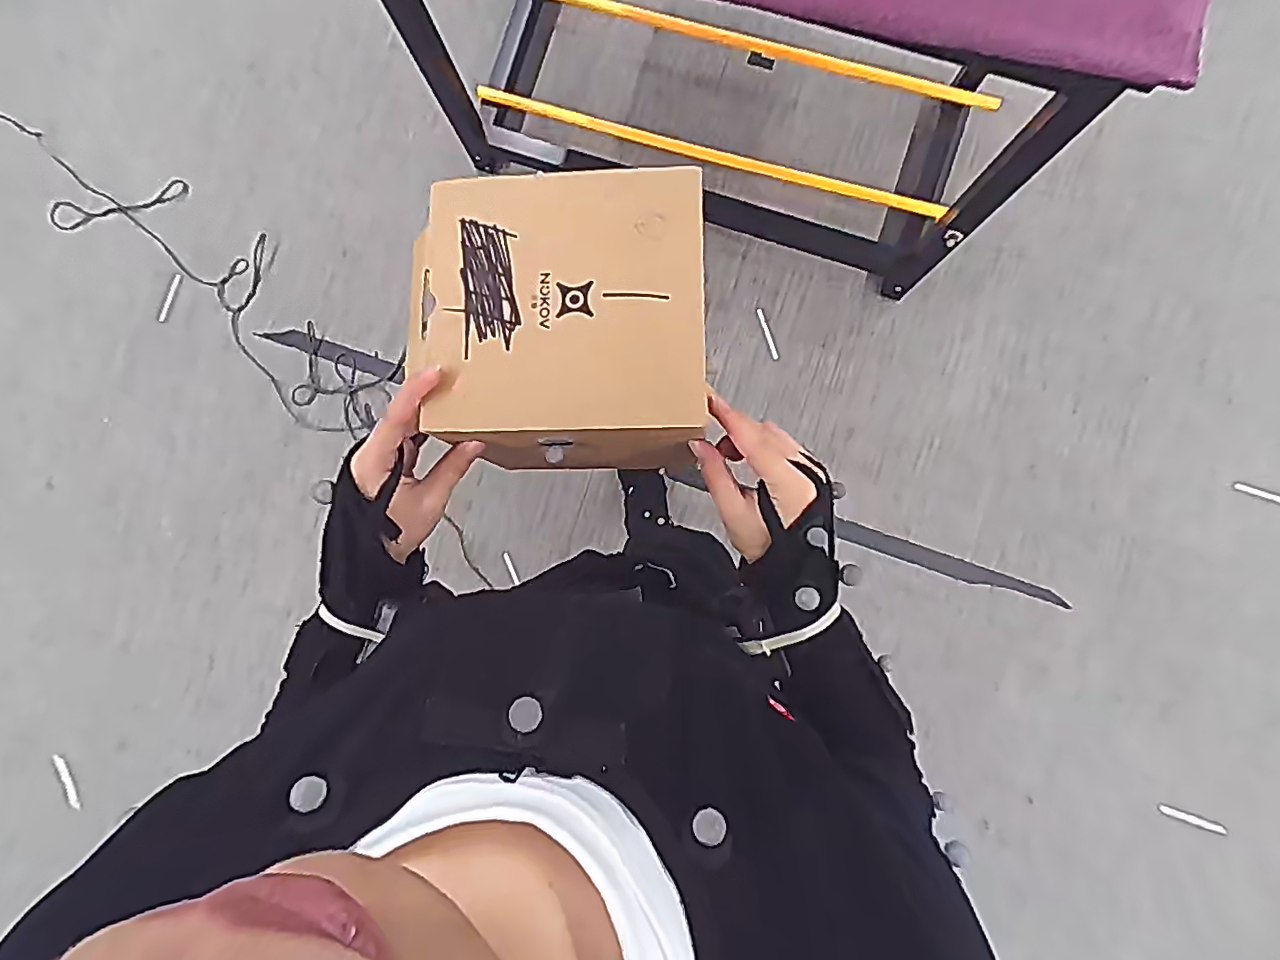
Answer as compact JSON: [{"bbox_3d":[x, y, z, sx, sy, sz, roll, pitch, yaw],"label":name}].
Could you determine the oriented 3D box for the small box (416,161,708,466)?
[{"bbox_3d":[-0.040,-0.103,0.404,0.179,0.176,0.168,0,83,4],"label":"small box"}]
